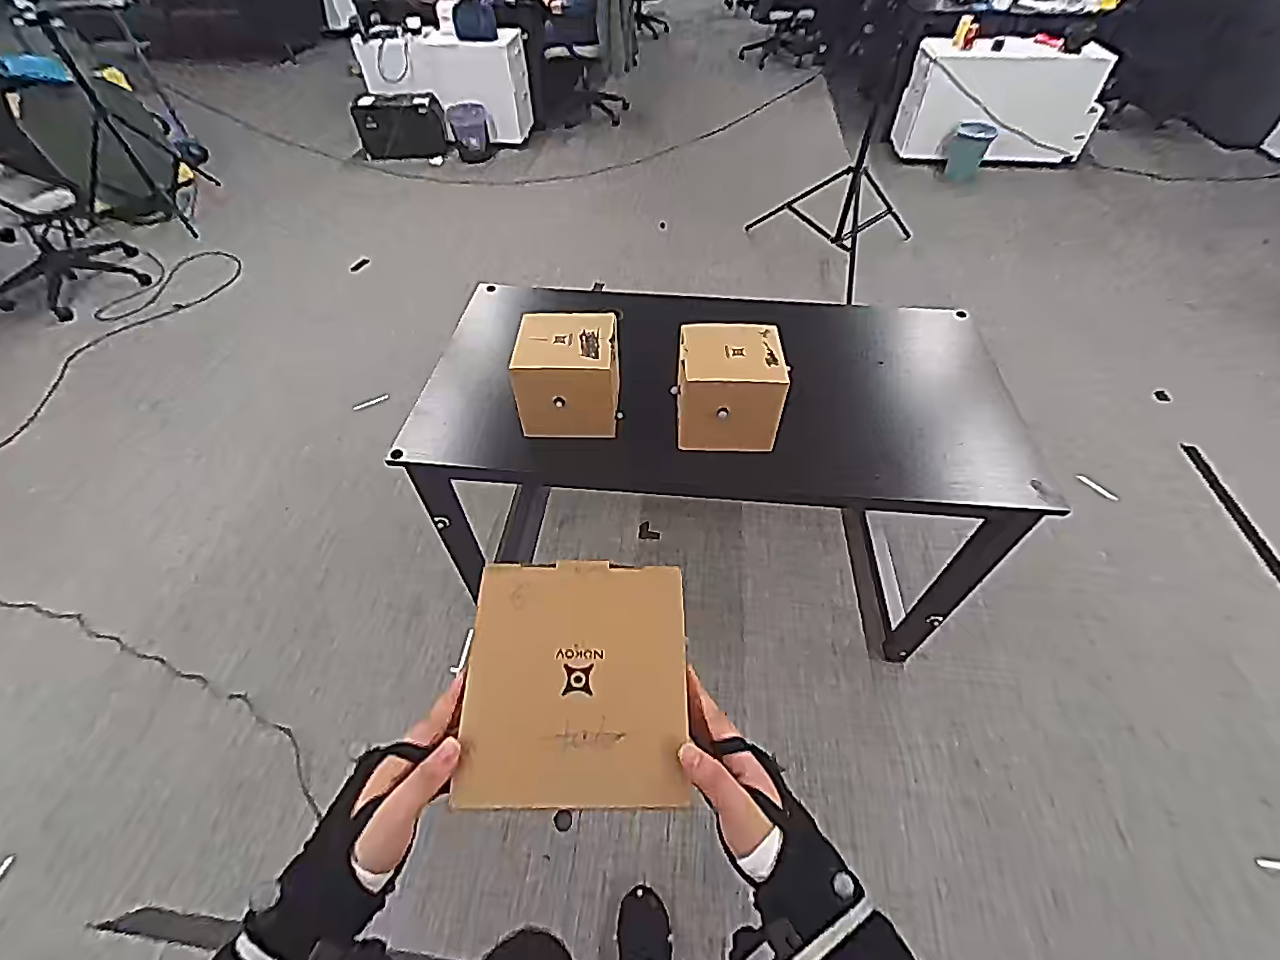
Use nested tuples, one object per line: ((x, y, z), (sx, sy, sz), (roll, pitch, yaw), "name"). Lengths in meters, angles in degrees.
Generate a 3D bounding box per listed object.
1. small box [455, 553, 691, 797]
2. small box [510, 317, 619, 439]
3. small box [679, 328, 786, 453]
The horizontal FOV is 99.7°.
((-0.050, 0.179, 0.482), (0.168, 0.176, 0.179), (1, 60, -3), "small box")
((-0.133, -0.190, 1.028), (0.179, 0.176, 0.168), (0, 50, 2), "small box")
((0.160, -0.164, 1.005), (0.179, 0.176, 0.168), (1, 50, 2), "small box")
